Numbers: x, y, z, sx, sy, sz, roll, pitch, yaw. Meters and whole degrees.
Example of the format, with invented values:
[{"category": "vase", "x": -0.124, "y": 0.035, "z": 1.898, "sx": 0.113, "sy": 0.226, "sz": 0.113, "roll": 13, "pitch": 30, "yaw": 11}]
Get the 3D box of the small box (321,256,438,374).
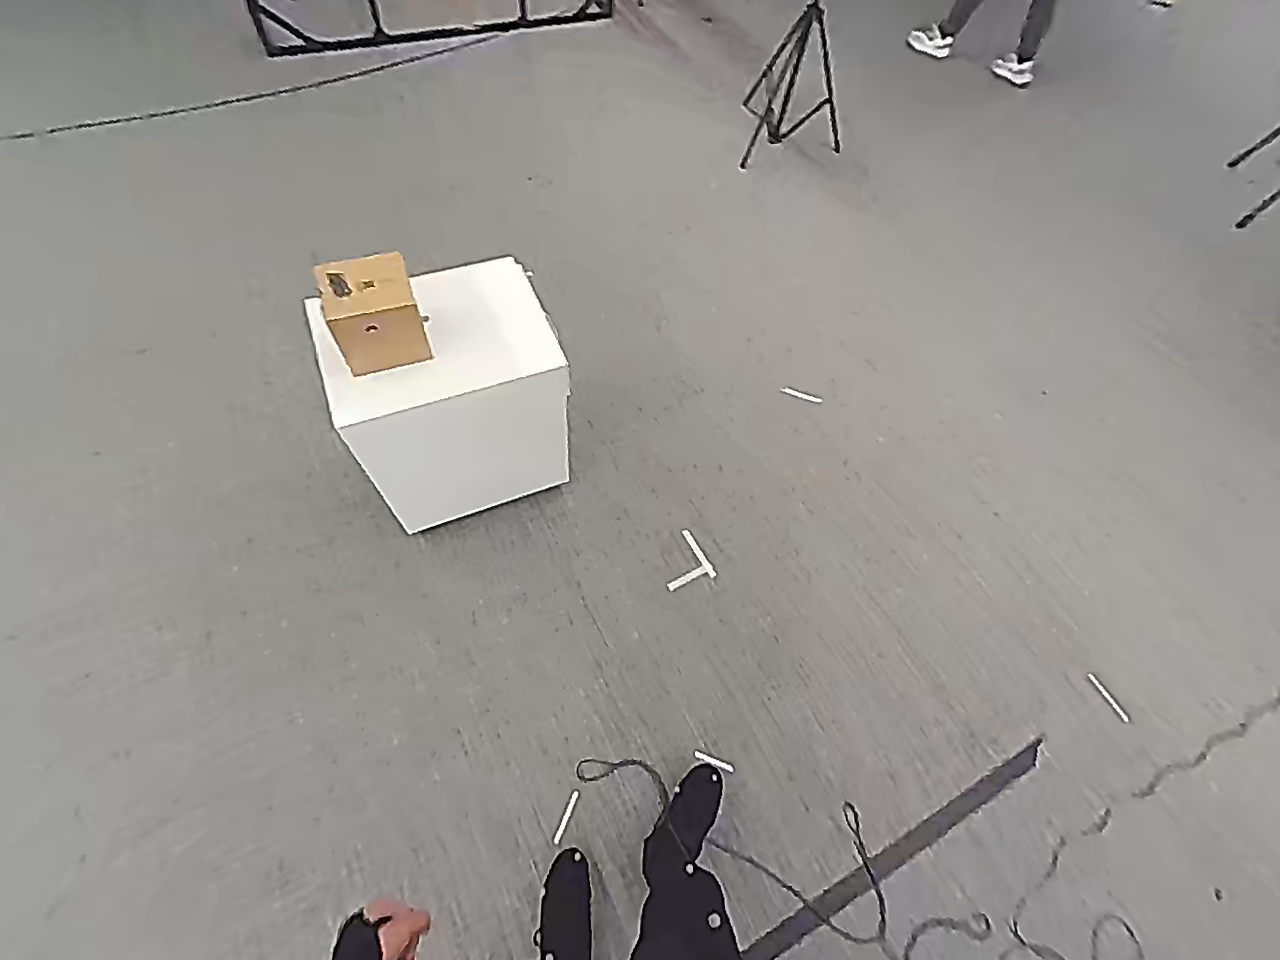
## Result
[{"category": "small box", "x": -0.562, "y": -0.354, "z": 1.179, "sx": 0.179, "sy": 0.176, "sz": 0.168, "roll": -17, "pitch": 64, "yaw": -17}]
